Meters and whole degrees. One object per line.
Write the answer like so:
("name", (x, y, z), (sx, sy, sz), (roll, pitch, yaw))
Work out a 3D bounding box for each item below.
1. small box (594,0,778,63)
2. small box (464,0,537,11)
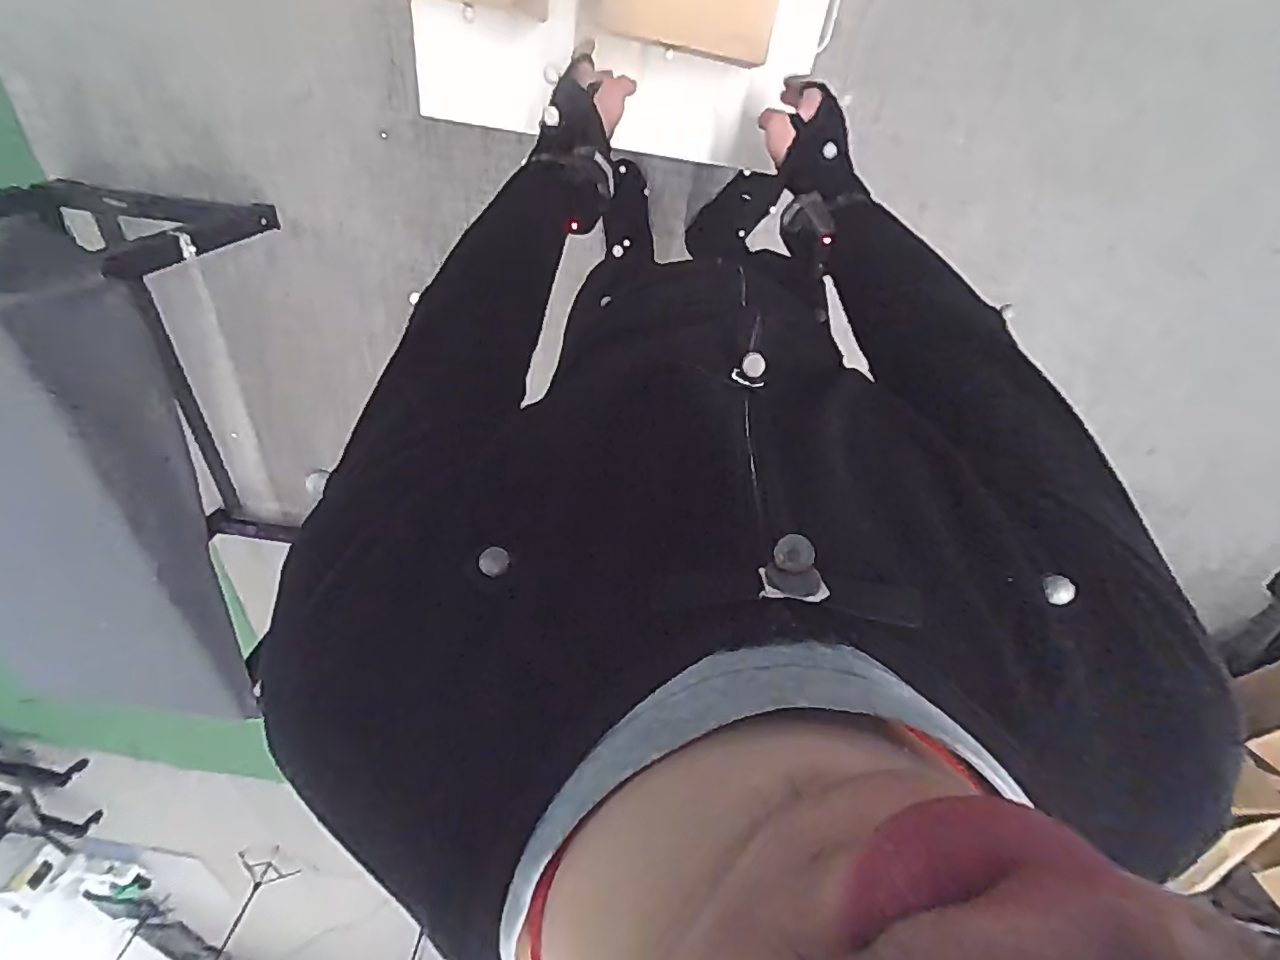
("small box", (0.061, -0.547, 0.555), (0.179, 0.176, 0.168), (11, 128, -2))
("small box", (-0.193, -0.598, 0.546), (0.179, 0.176, 0.168), (9, 127, -2))
